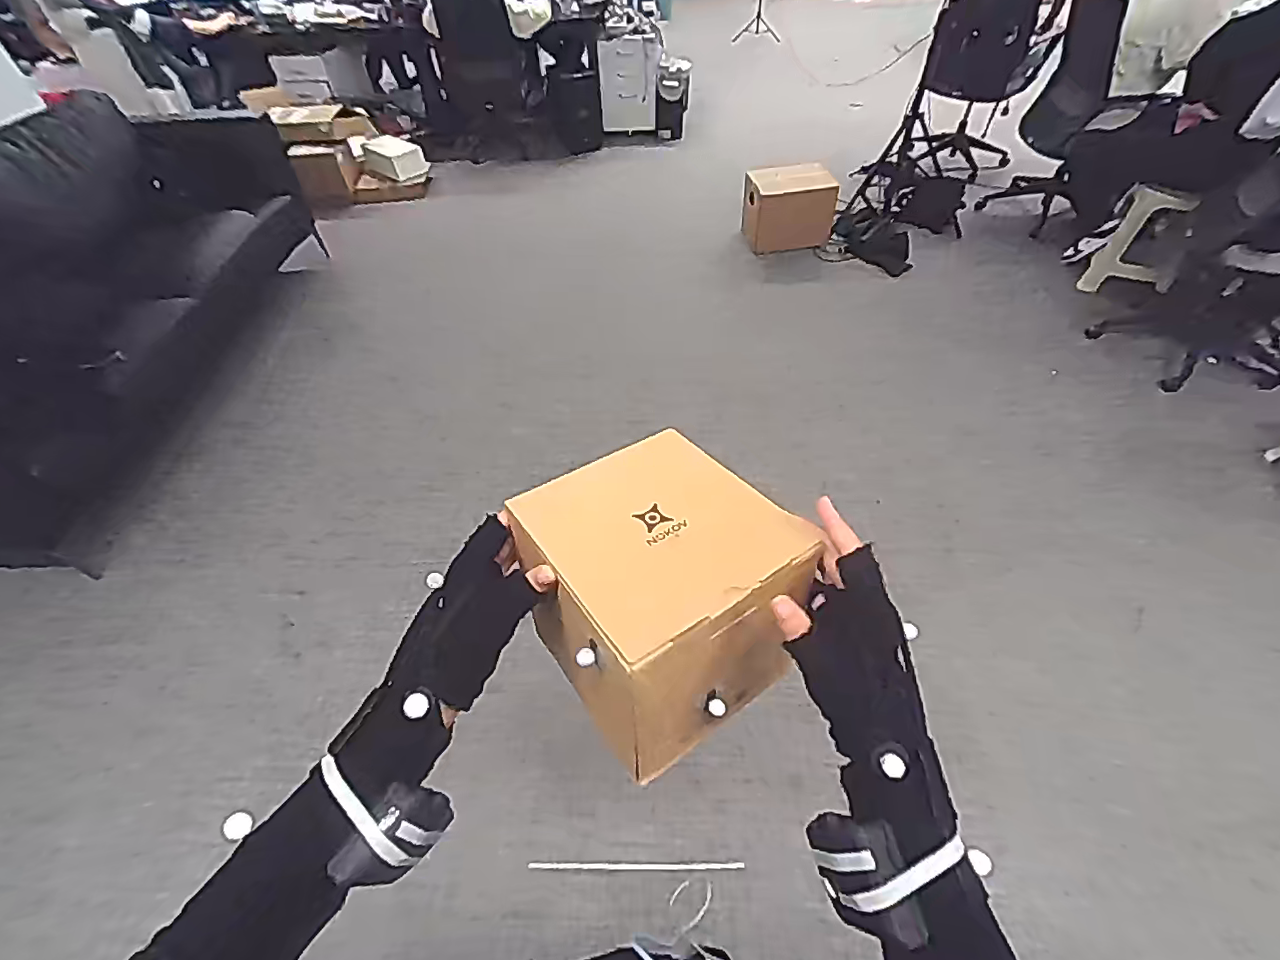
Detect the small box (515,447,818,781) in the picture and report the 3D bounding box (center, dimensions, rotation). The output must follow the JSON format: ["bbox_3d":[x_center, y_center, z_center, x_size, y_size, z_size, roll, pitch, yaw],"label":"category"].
[{"bbox_3d":[0.014,0.105,0.455,0.168,0.176,0.179,-24,45,-25],"label":"small box"}]
